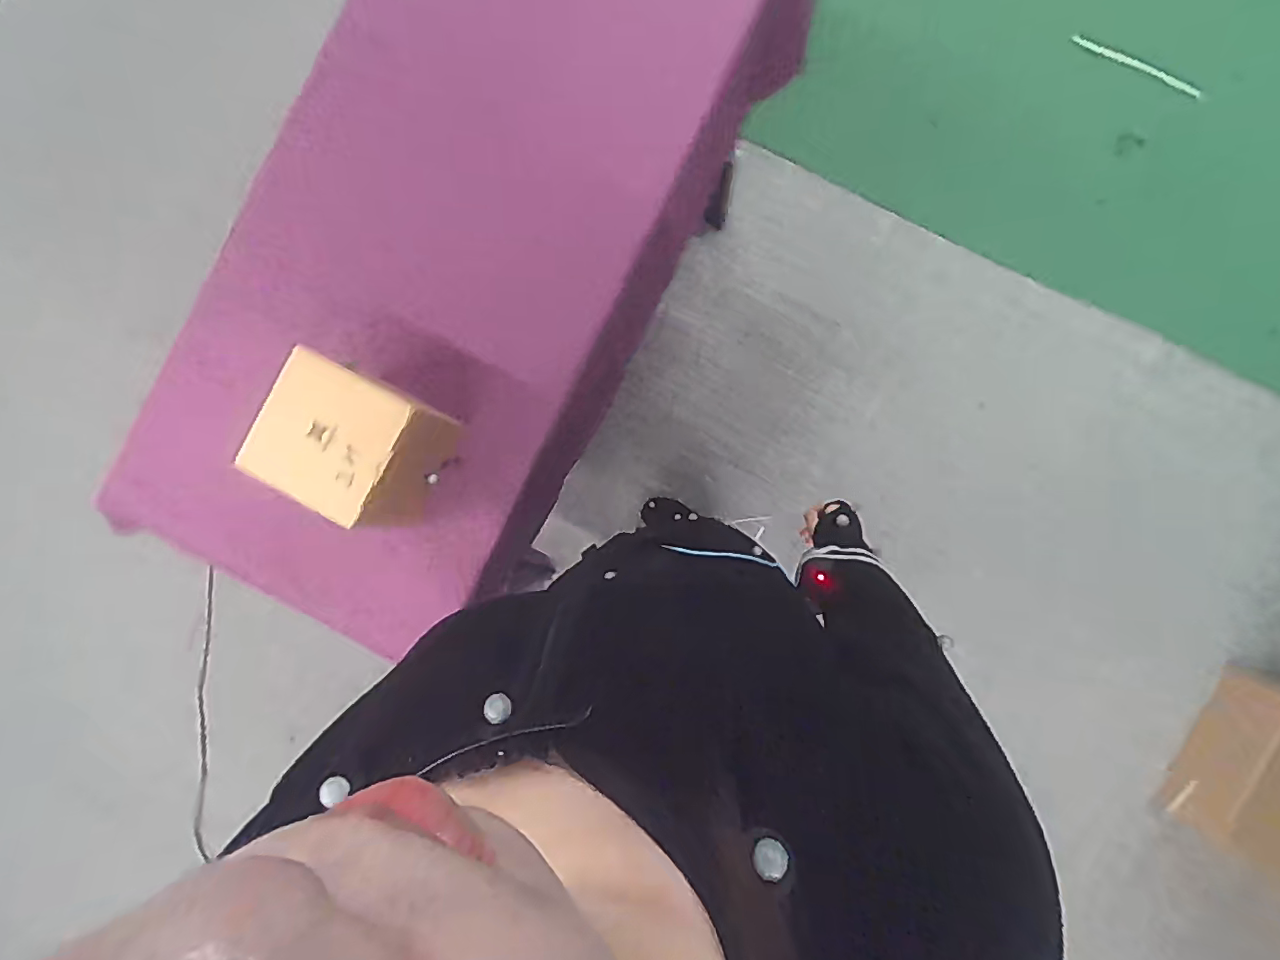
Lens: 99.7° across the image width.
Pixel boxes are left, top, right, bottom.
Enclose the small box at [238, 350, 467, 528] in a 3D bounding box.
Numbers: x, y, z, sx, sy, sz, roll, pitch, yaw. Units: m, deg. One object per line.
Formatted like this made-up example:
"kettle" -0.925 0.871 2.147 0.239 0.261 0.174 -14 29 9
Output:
"small box" -0.370 -0.045 0.727 0.179 0.176 0.168 27 90 6
